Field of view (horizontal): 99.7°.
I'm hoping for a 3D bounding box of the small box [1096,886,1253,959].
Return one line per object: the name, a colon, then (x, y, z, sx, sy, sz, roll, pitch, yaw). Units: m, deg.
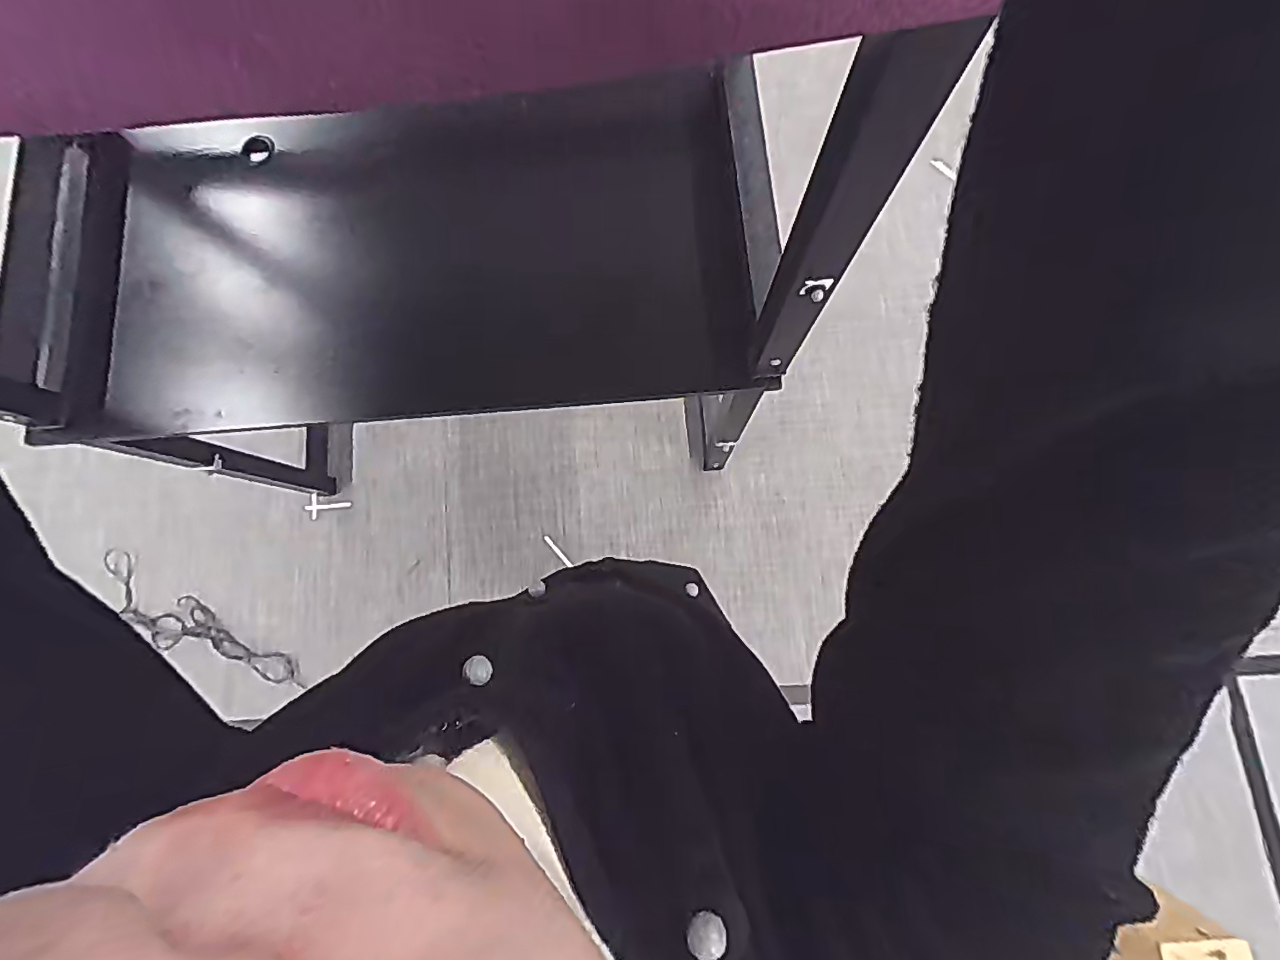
small box: (1.084, 0.973, 1.100, 0.168, 0.176, 0.179, -4, 81, 1)
